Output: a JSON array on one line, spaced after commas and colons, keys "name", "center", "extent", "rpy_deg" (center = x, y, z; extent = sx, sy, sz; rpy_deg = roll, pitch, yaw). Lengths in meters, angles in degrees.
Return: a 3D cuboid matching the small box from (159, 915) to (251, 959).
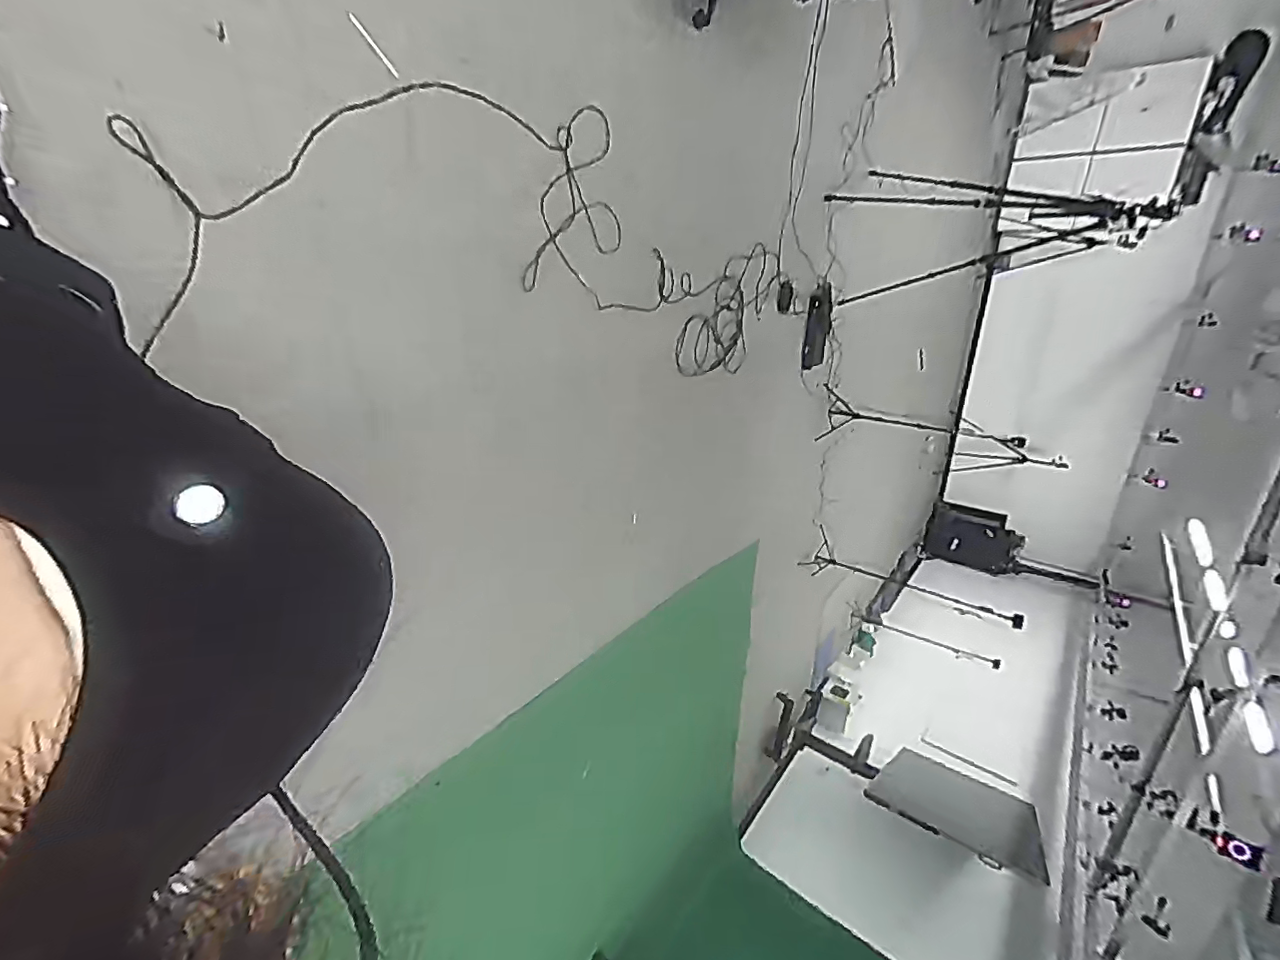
[{"name": "small box", "center": [-1.098, 1.279, 1.380], "extent": [0.168, 0.176, 0.179], "rpy_deg": [-24, 121, -47]}]
